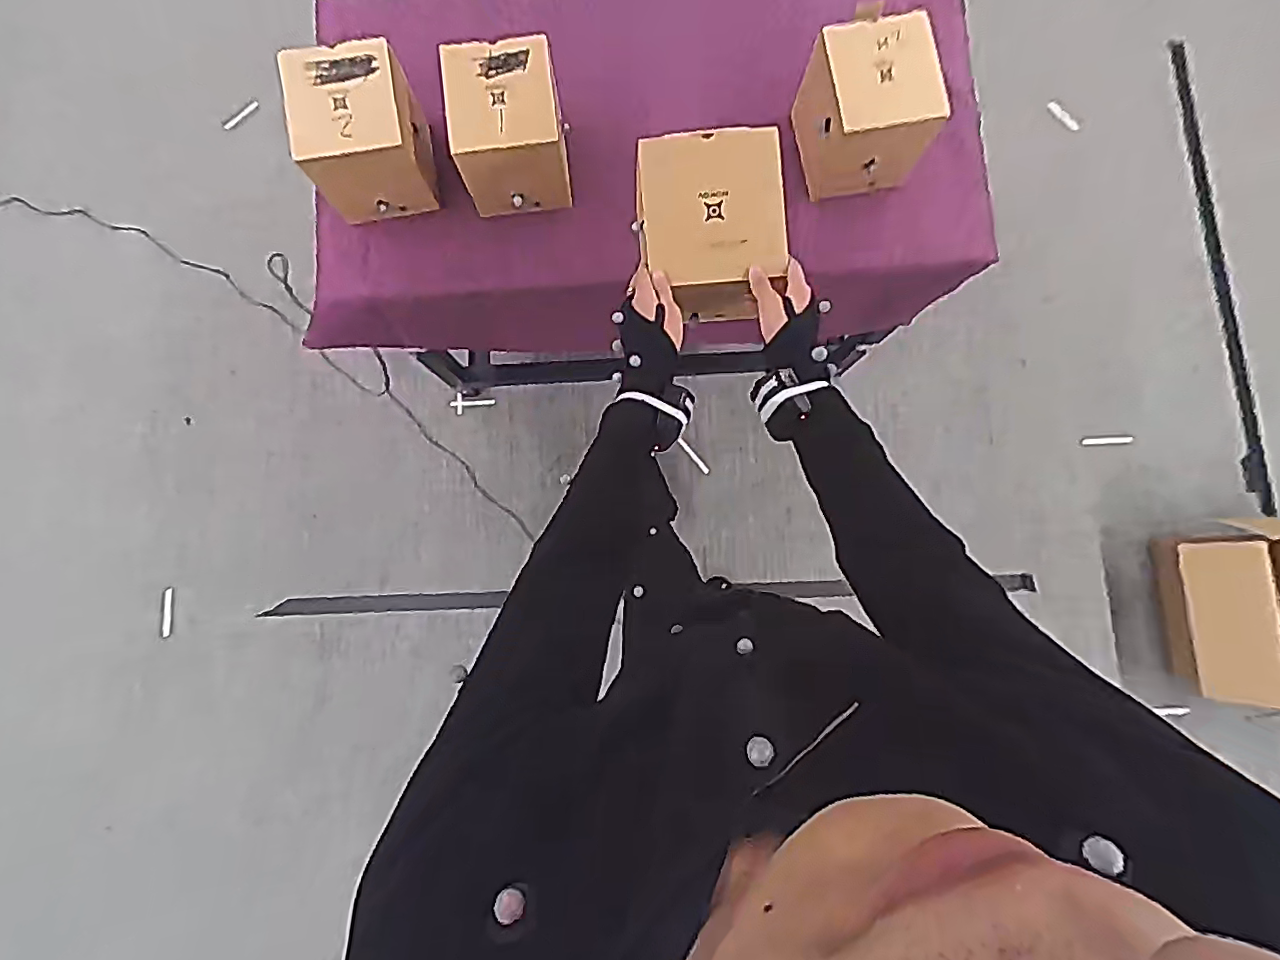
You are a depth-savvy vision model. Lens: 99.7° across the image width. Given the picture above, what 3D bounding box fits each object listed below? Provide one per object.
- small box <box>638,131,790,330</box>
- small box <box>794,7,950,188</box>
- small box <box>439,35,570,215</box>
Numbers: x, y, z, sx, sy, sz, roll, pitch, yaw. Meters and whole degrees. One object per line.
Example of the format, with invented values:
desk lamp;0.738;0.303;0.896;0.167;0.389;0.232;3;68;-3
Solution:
small box;0.084;-0.308;0.698;0.168;0.176;0.179;-5;90;0
small box;0.366;-0.608;0.886;0.168;0.176;0.179;-10;83;-1
small box;-0.214;-0.570;0.886;0.168;0.176;0.179;-7;85;0
